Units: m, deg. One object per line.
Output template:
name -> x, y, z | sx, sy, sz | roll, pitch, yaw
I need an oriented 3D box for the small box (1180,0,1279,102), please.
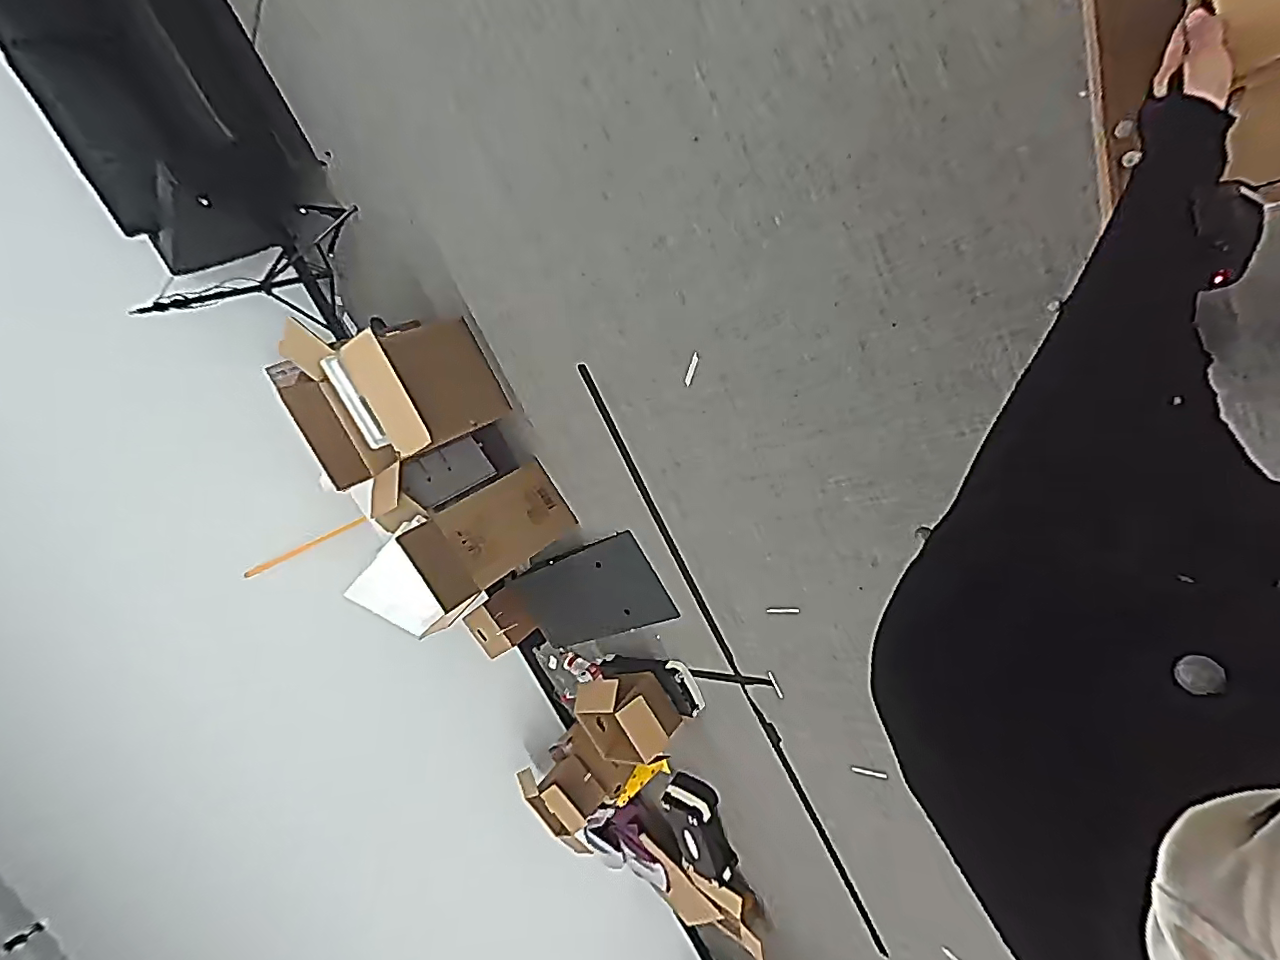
small box -> 0.564, -0.449, 0.441 | 0.168, 0.176, 0.179 | -10, 106, 44
